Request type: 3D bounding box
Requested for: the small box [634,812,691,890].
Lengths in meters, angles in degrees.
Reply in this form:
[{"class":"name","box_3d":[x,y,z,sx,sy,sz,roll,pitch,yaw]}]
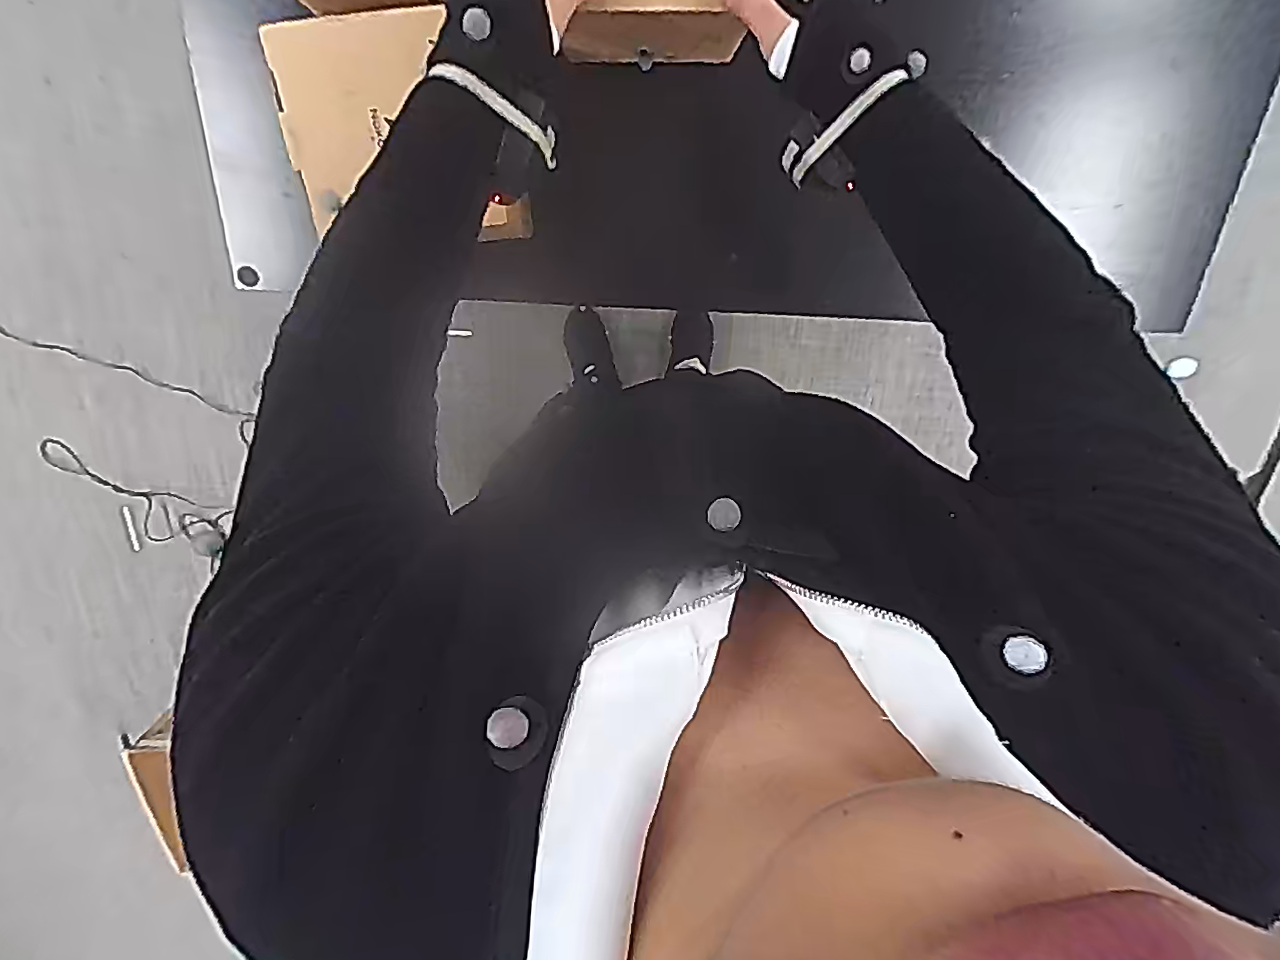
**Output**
[{"class":"small box","box_3d":[0.075,1.327,1.940,0.179,0.176,0.168,6,108,-4]}]
